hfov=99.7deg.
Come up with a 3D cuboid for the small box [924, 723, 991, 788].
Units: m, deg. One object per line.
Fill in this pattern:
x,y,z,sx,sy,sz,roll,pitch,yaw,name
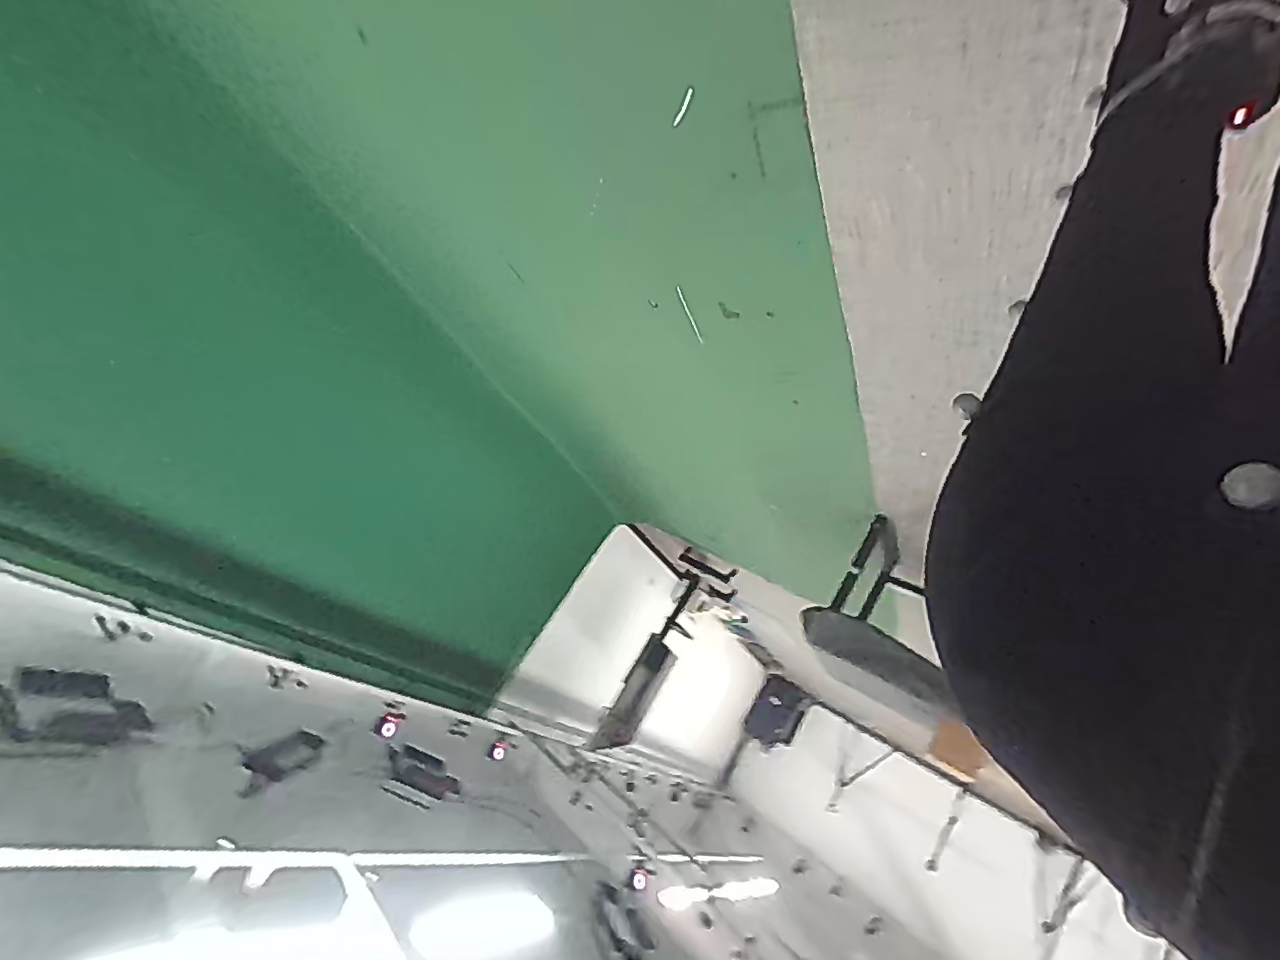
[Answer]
1.261,1.090,2.153,0.179,0.176,0.168,25,165,35,small box
